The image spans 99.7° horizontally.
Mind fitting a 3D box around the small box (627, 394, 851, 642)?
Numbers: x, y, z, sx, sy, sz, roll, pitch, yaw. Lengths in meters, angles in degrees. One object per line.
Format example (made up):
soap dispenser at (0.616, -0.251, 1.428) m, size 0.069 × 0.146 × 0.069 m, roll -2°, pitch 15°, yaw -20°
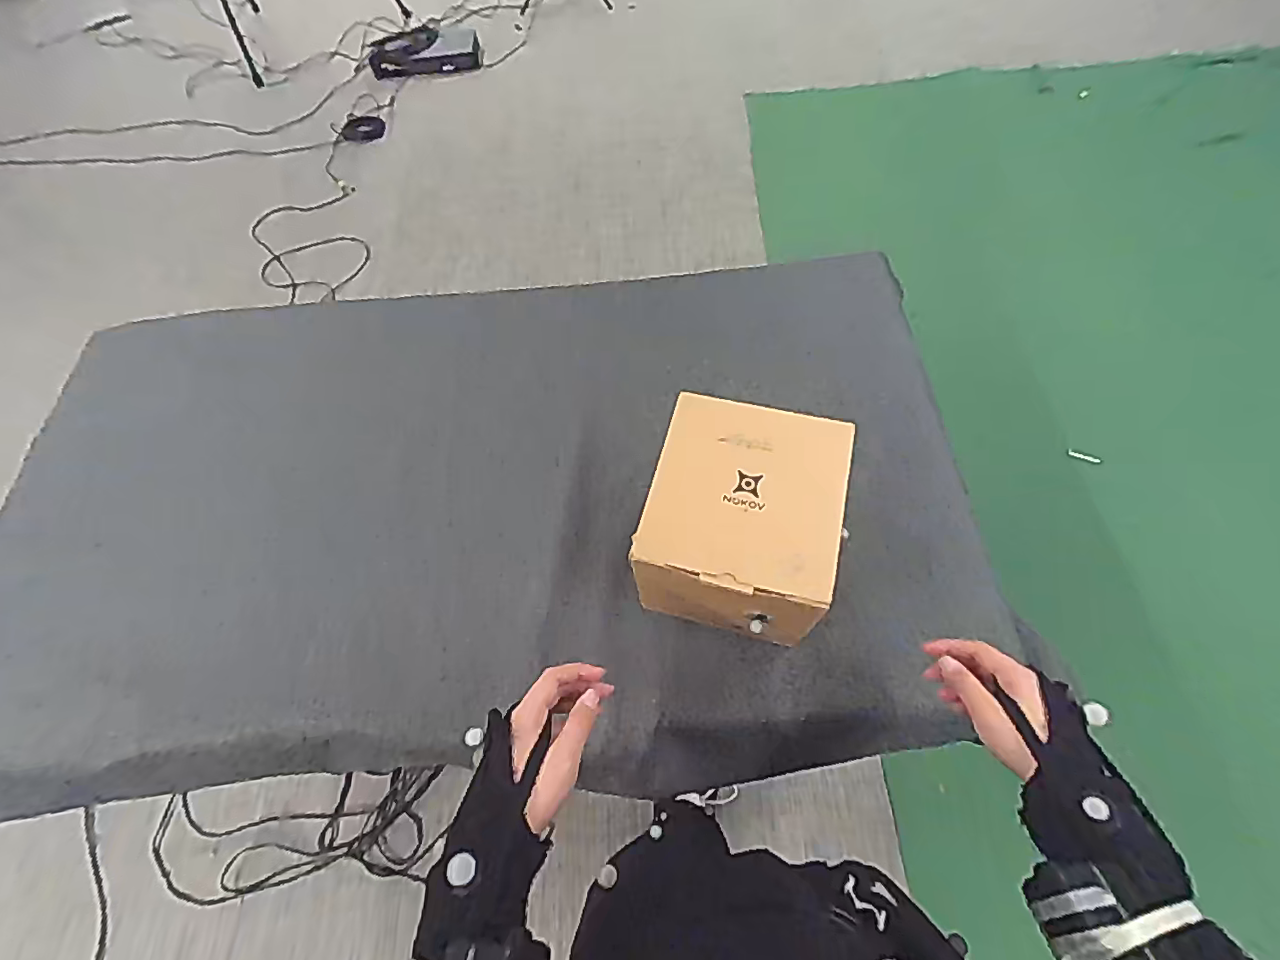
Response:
small box at (0.096, 0.045, 0.537) m, size 0.168 × 0.176 × 0.179 m, roll 13°, pitch 63°, yaw 10°
